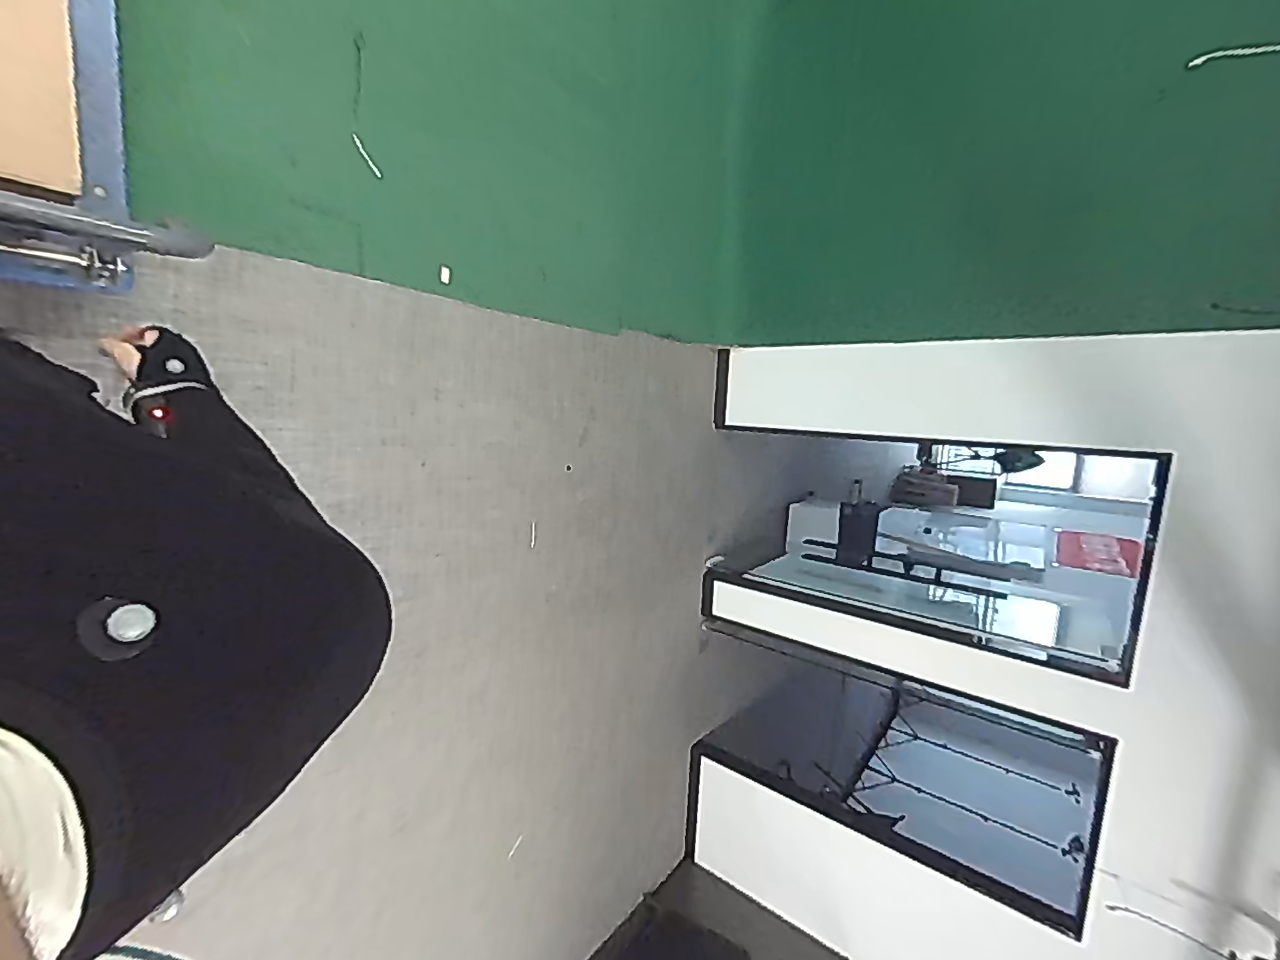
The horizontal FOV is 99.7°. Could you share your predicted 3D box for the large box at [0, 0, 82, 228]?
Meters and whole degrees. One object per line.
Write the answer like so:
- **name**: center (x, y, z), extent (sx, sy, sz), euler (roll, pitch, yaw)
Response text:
- **large box**: center (-1.047, -0.625, 0.757), extent (0.320, 0.320, 0.408), euler (-8, 102, -53)
